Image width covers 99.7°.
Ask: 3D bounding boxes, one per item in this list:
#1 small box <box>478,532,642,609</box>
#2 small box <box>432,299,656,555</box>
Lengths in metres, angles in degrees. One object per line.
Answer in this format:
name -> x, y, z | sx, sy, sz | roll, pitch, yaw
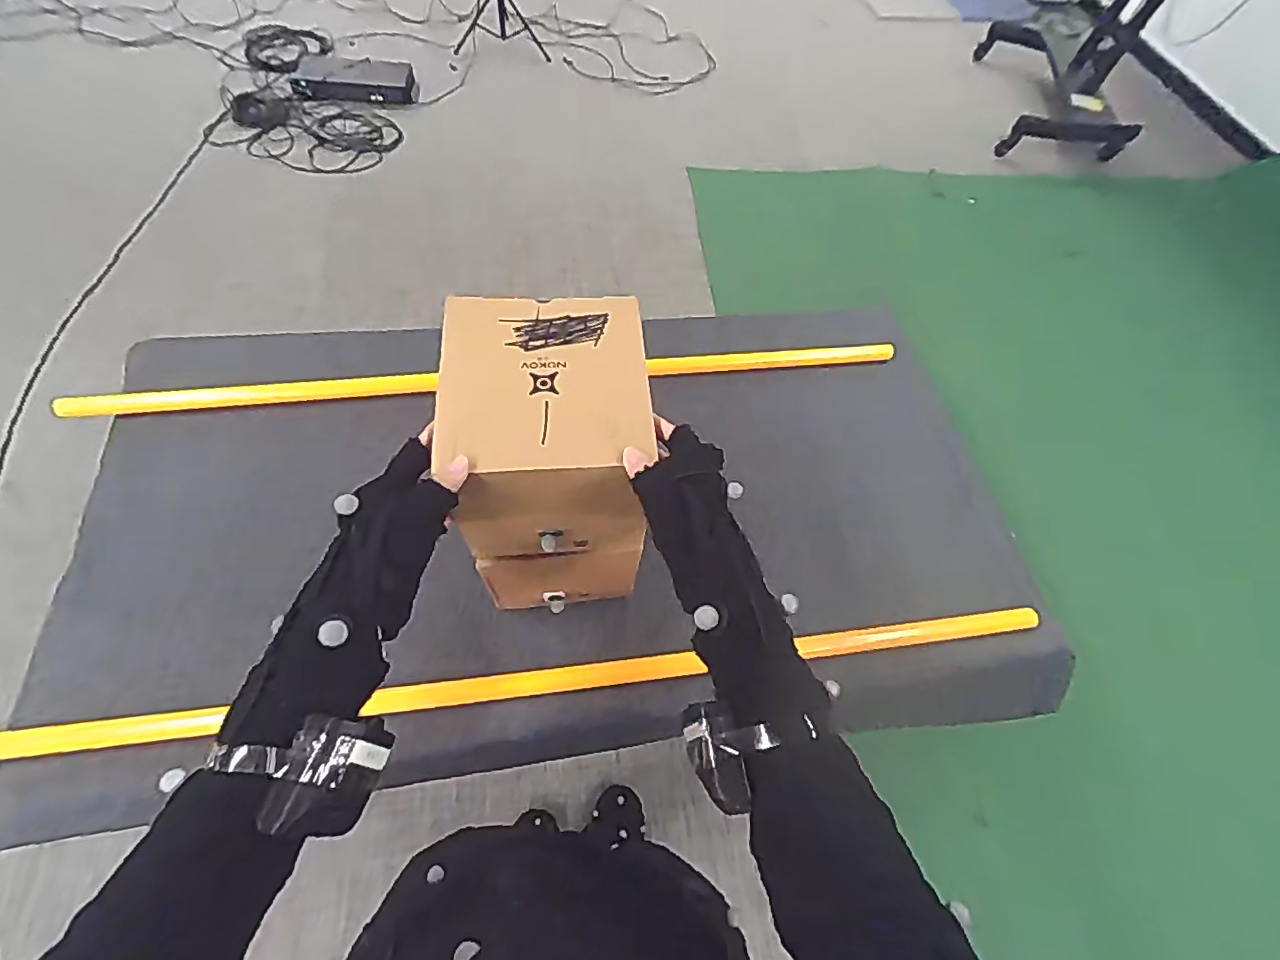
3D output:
small box -> -0.097, 0.040, 0.646 | 0.168, 0.176, 0.179 | -6, 63, -8
small box -> -0.082, -0.044, 0.504 | 0.168, 0.176, 0.179 | -3, 62, -6
